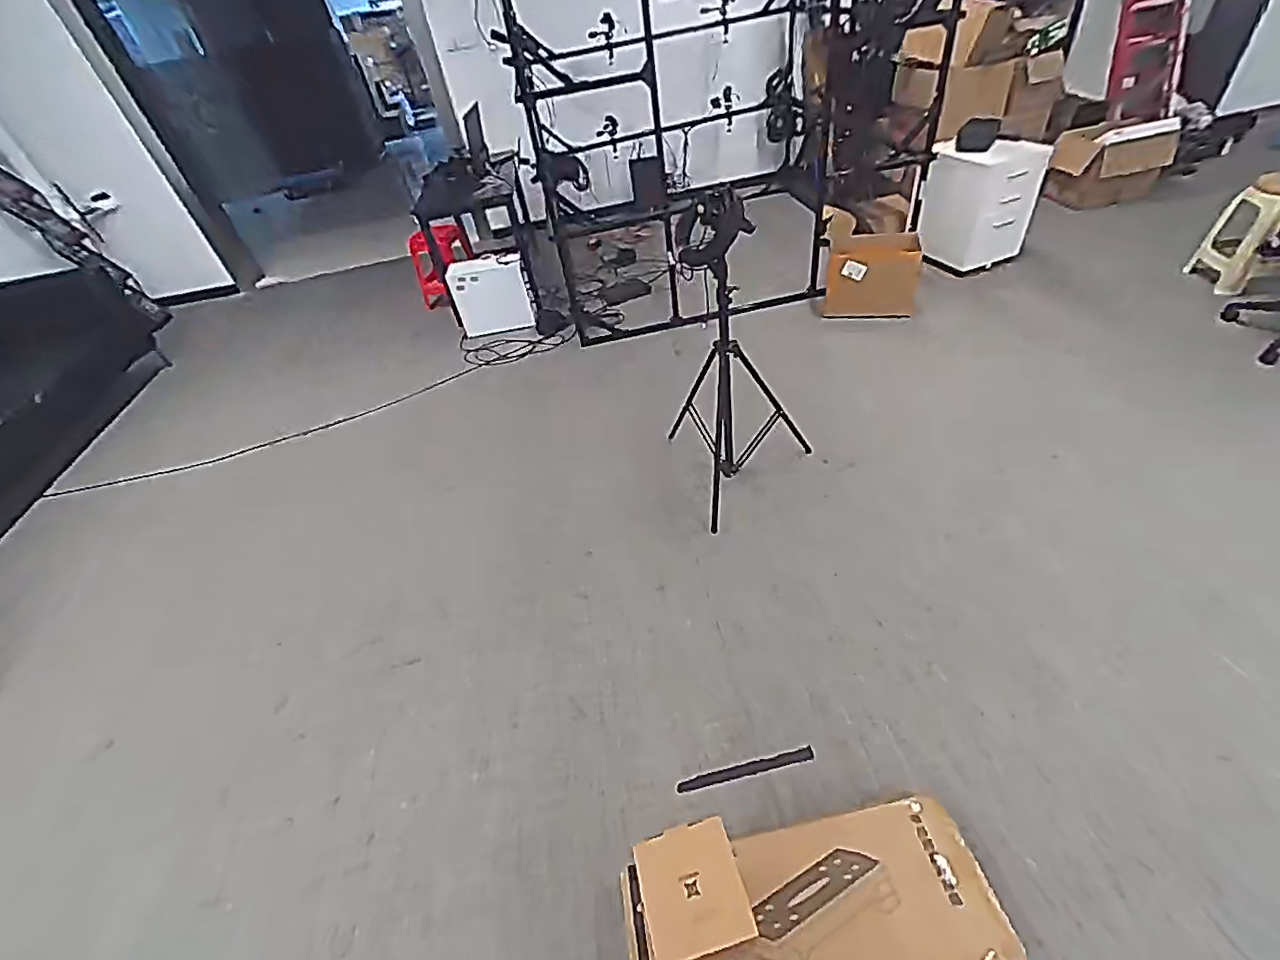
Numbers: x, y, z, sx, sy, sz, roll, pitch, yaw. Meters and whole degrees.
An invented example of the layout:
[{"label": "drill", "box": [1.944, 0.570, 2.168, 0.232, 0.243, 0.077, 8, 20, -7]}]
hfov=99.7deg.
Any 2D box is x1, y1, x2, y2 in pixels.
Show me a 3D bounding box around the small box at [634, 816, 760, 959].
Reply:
[{"label": "small box", "box": [0.096, 0.727, 0.936, 0.168, 0.176, 0.179, -16, 42, -6]}]
